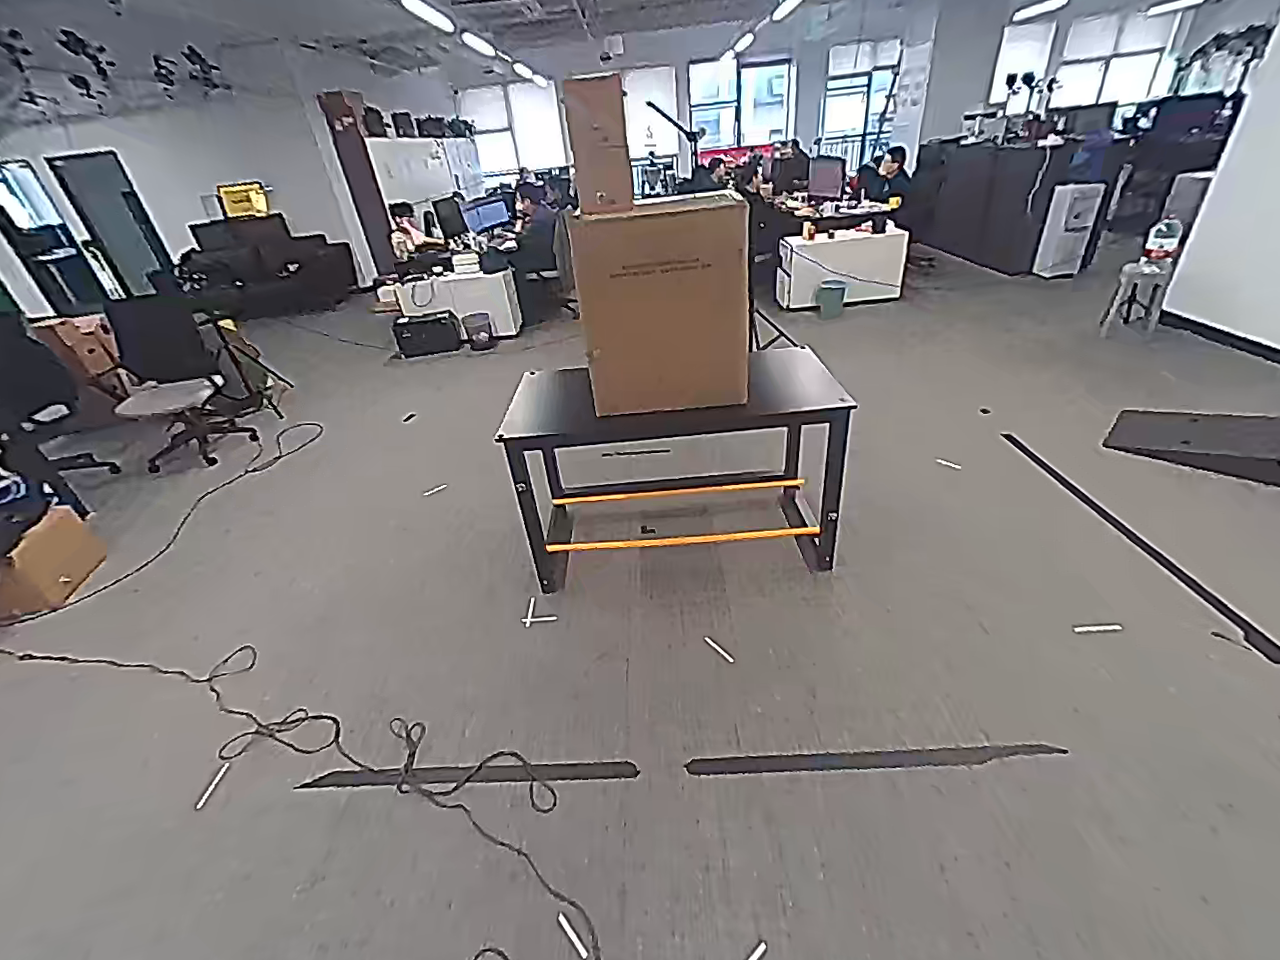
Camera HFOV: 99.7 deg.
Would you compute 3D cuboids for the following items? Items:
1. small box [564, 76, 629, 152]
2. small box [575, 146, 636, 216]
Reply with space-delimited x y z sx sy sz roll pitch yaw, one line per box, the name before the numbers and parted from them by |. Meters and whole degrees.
small box | -0.122 -1.054 1.567 0.168 0.176 0.179 -7 33 0
small box | -0.105 -0.917 1.658 0.168 0.176 0.179 -8 34 -2
